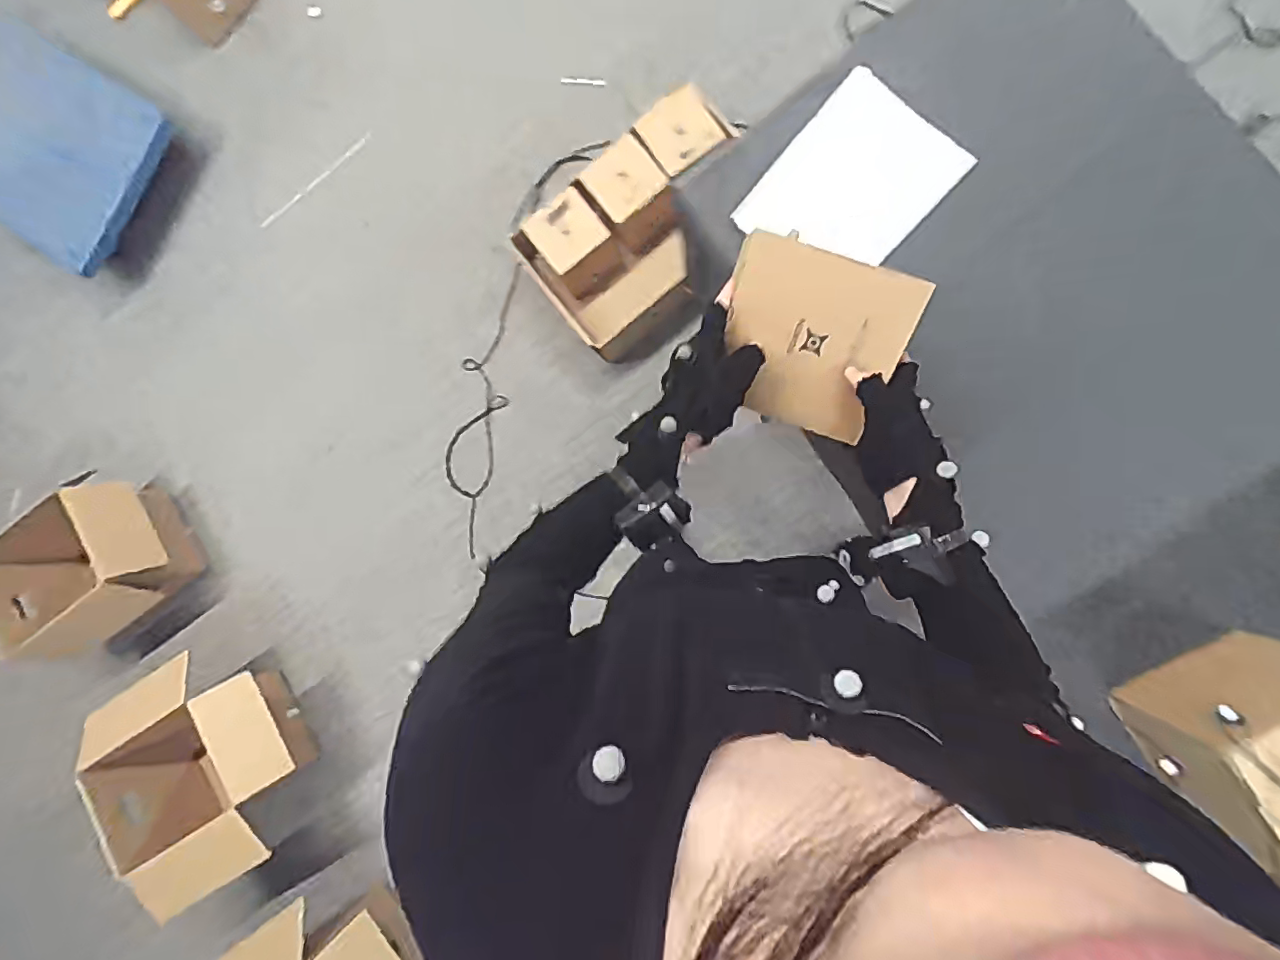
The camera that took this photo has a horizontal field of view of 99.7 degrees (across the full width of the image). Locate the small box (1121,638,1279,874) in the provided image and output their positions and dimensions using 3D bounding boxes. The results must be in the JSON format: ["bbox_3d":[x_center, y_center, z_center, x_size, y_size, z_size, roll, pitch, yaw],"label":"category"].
[{"bbox_3d":[0.692,0.292,0.577,0.179,0.176,0.168,-31,83,6],"label":"small box"}]
